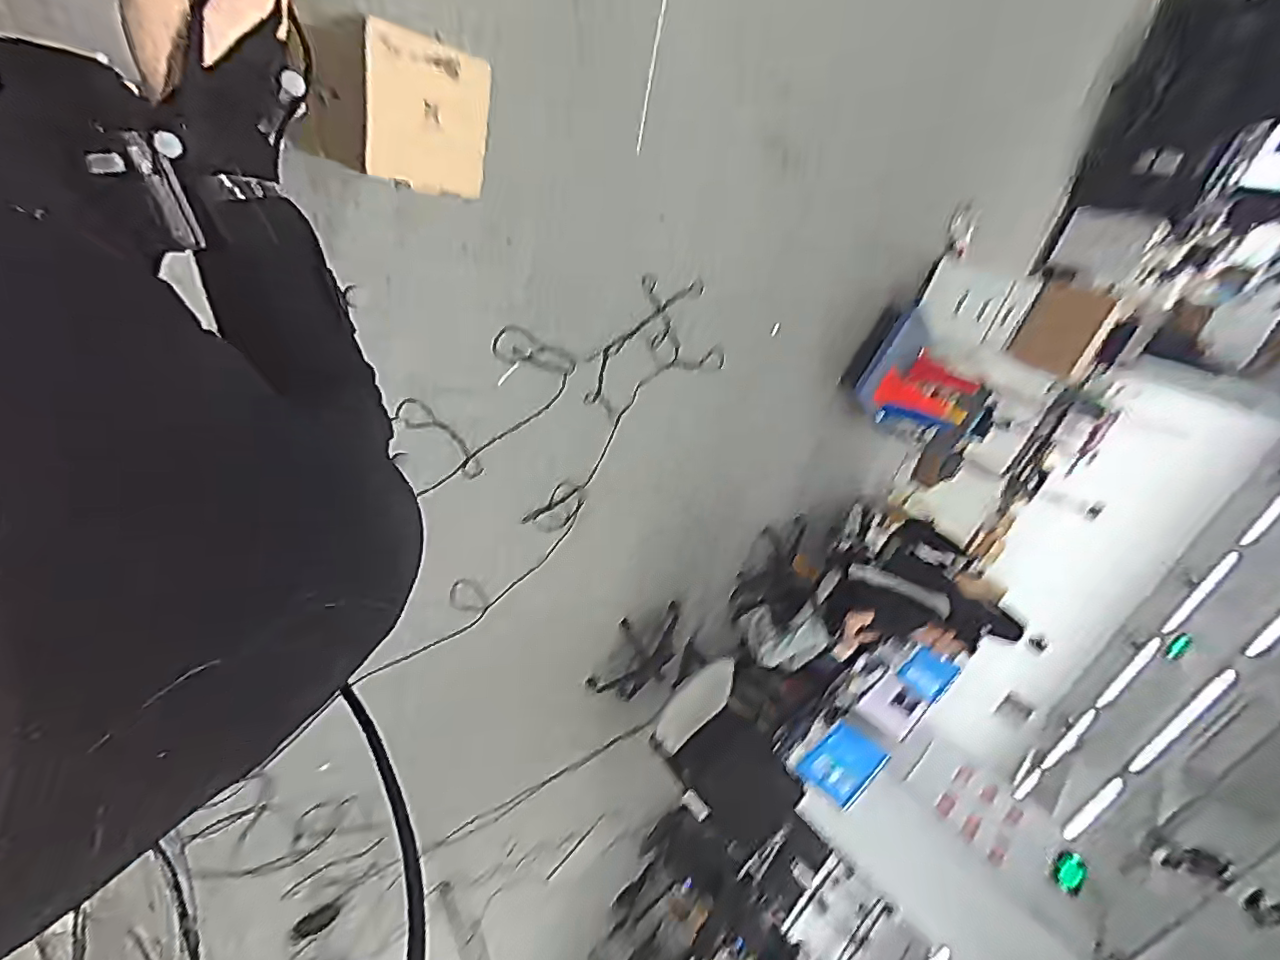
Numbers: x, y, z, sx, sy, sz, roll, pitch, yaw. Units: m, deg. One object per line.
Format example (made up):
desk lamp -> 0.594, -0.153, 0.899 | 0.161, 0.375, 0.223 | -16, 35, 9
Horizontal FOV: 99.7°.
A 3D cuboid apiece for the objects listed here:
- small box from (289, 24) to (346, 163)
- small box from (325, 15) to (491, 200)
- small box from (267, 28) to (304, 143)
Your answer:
small box -> -0.451, -0.603, 0.878 | 0.179, 0.176, 0.168 | -14, 128, -43
small box -> -0.340, -0.531, 0.782 | 0.168, 0.176, 0.179 | -12, 128, -43
small box -> -0.549, -0.686, 0.981 | 0.179, 0.176, 0.168 | -11, 125, -44
